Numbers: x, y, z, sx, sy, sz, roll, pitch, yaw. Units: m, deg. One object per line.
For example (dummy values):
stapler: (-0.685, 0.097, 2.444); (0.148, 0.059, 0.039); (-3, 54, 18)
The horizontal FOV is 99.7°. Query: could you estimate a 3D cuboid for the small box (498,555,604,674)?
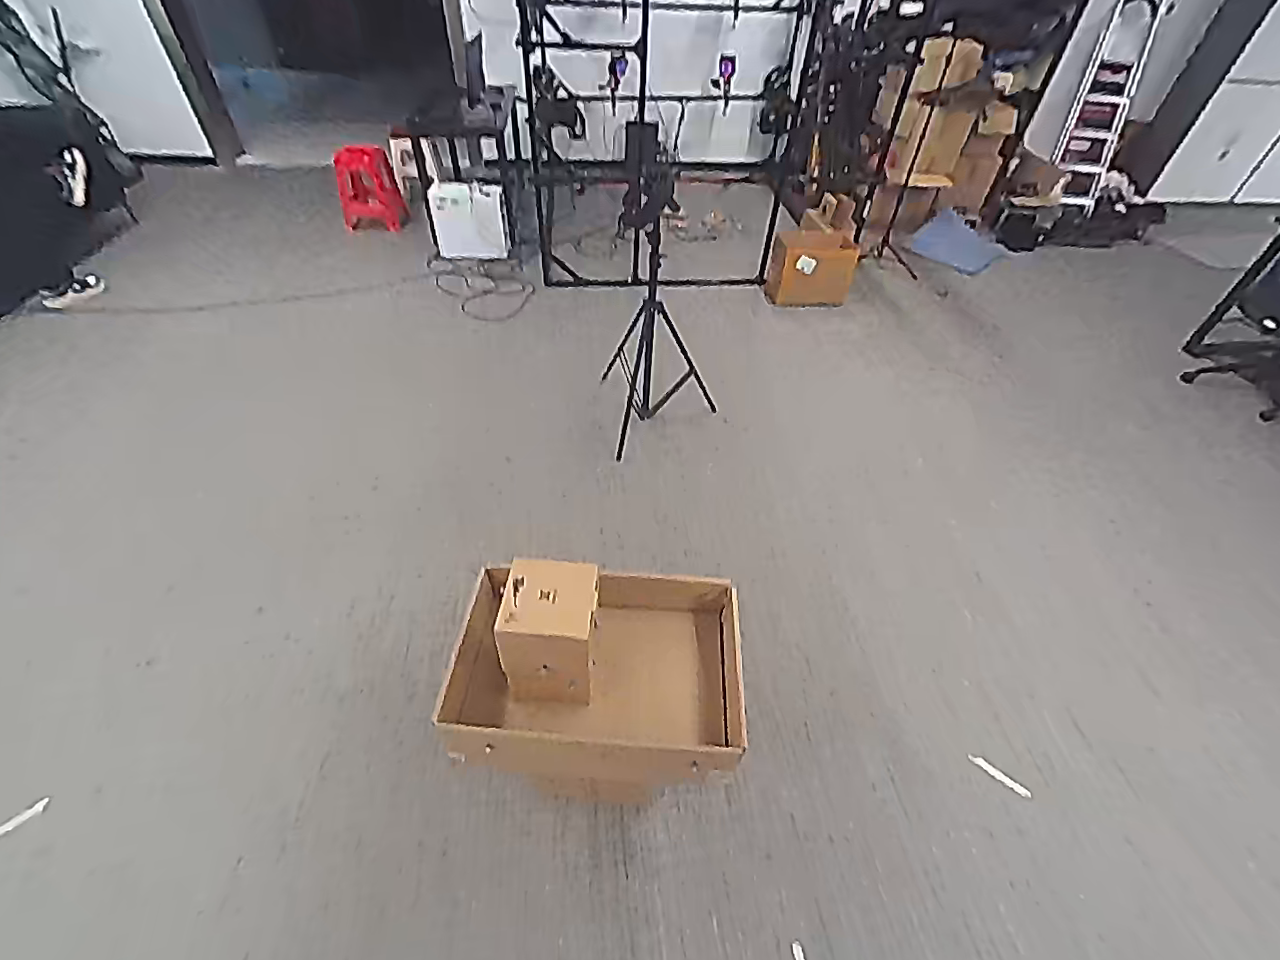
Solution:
small box: (-0.172, 0.275, 1.089); (0.179, 0.176, 0.168); (6, 45, 0)
